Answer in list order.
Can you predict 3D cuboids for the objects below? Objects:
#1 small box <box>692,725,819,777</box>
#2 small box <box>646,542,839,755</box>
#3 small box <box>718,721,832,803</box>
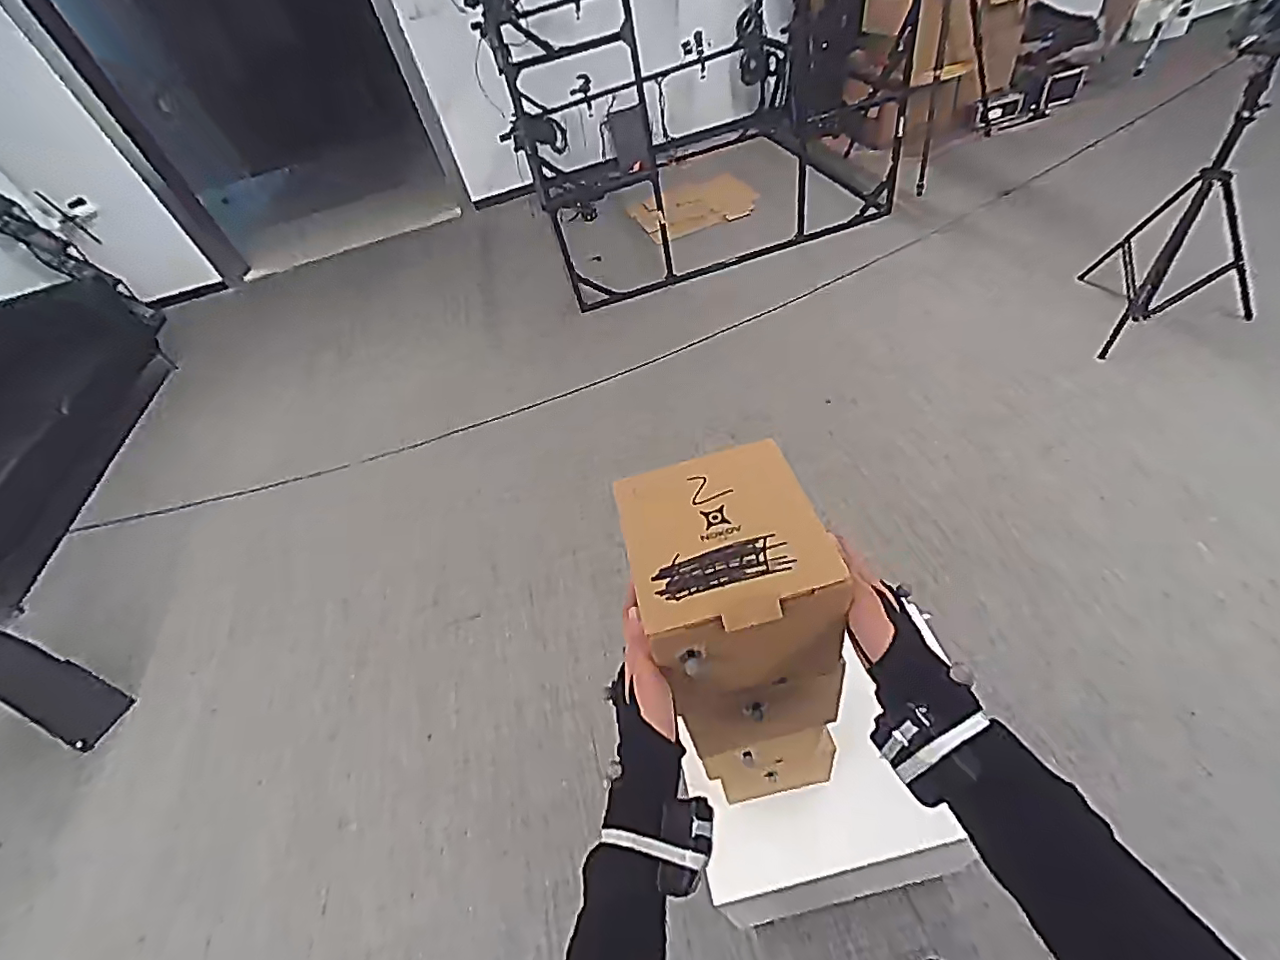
[{"bbox_3d":[0.150,0.306,0.776,0.168,0.176,0.179,-14,45,3],"label":"small box"},{"bbox_3d":[0.119,0.206,0.649,0.179,0.176,0.168,-16,46,1],"label":"small box"},{"bbox_3d":[0.199,0.410,0.893,0.179,0.176,0.168,-14,46,1],"label":"small box"}]
